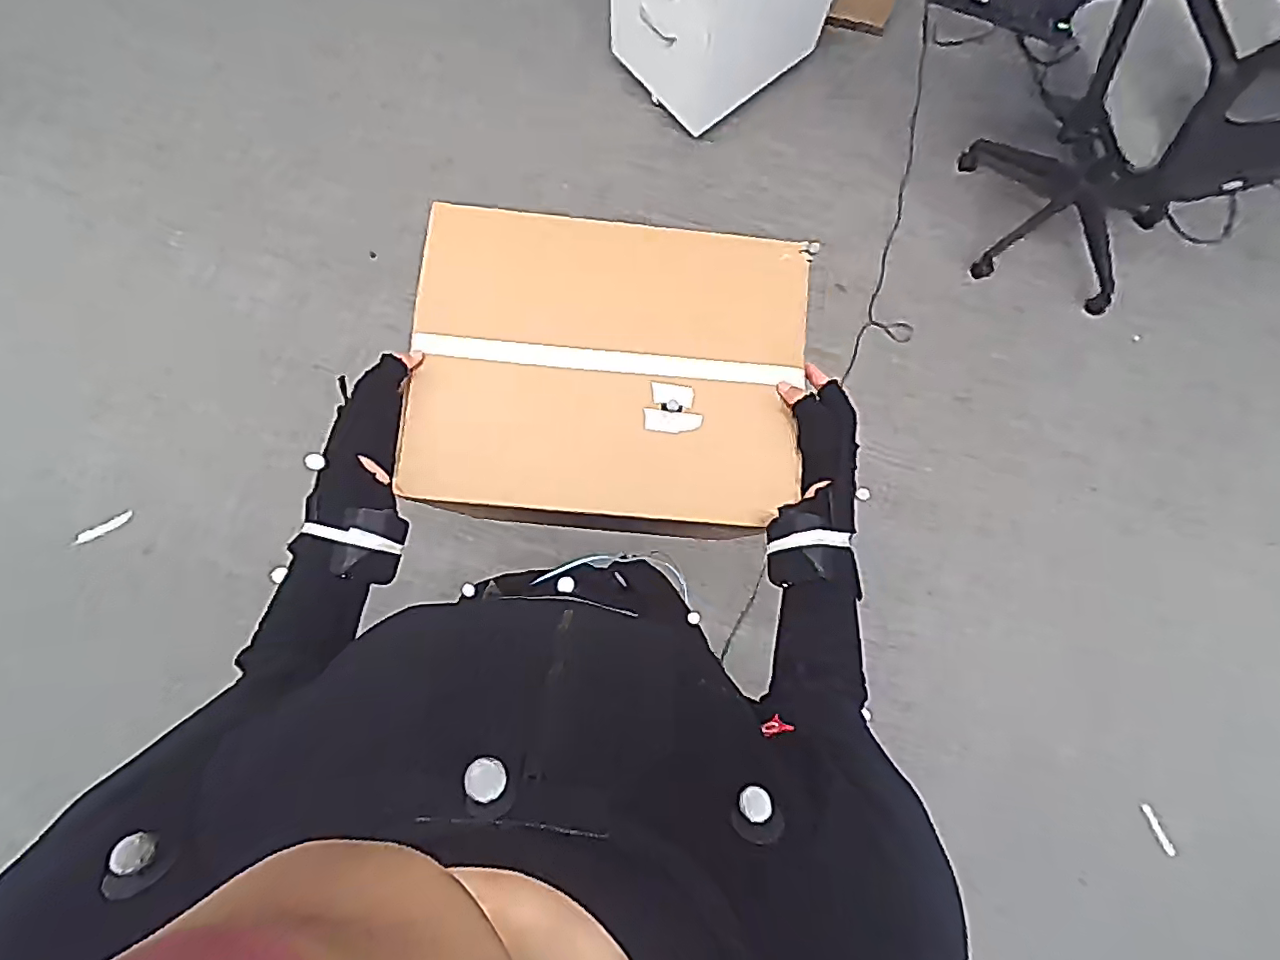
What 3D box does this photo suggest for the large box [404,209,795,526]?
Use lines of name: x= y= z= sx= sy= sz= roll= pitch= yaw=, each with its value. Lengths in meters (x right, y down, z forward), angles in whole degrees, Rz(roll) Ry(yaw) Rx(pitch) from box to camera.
large box: x=-0.044 y=-0.109 z=0.718 sx=0.408 sy=0.320 sz=0.320 roll=5 pitch=83 yaw=-4
